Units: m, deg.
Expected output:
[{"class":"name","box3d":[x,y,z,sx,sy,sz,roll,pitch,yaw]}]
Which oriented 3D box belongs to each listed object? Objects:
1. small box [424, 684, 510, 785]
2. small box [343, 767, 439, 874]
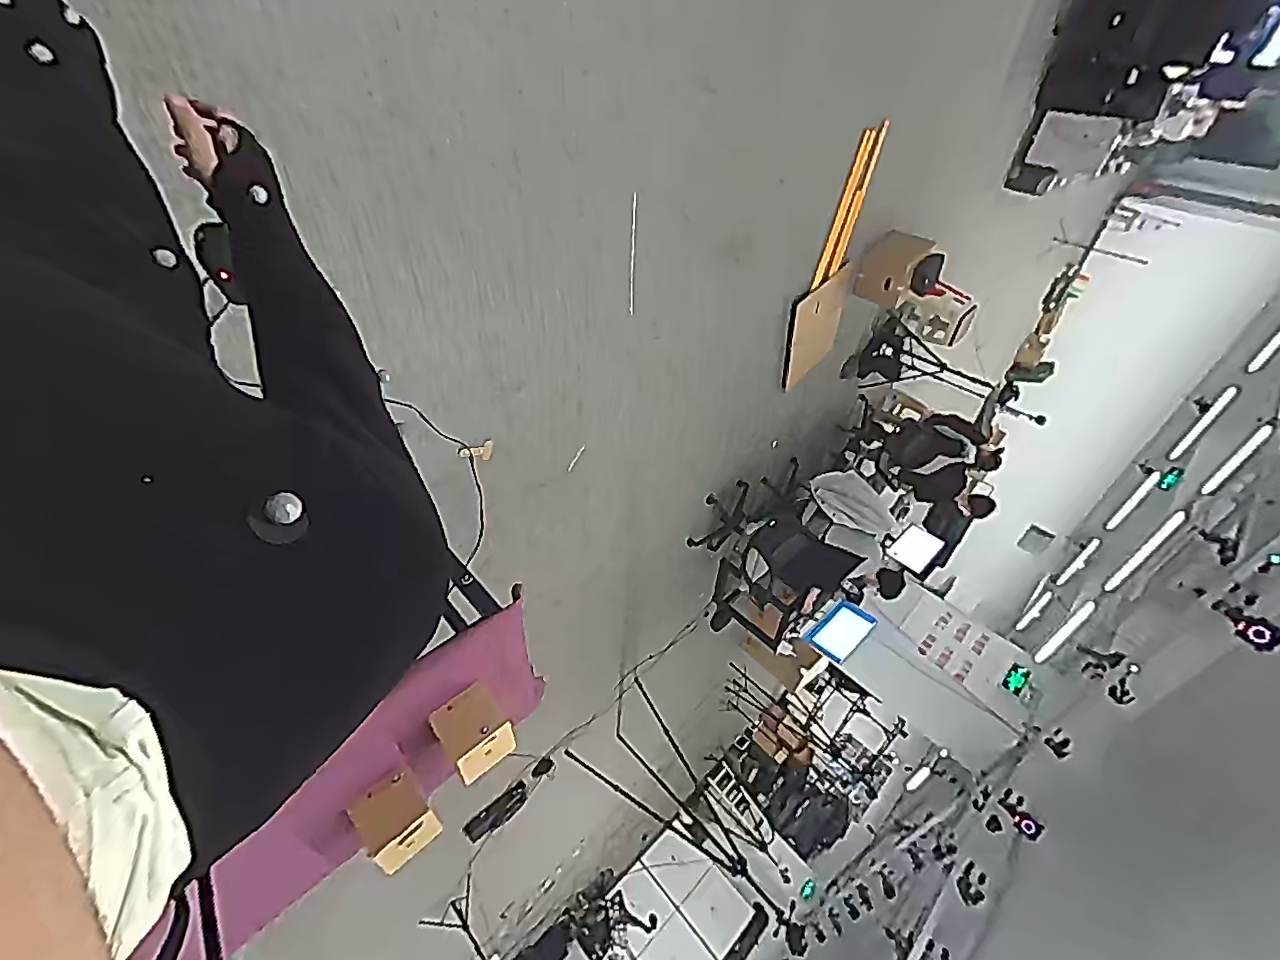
[{"class":"small box","box3d":[-0.496,0.728,1.560,0.168,0.176,0.179,-32,143,-34]},{"class":"small box","box3d":[-0.694,0.941,1.507,0.168,0.176,0.179,-32,143,-32]}]
